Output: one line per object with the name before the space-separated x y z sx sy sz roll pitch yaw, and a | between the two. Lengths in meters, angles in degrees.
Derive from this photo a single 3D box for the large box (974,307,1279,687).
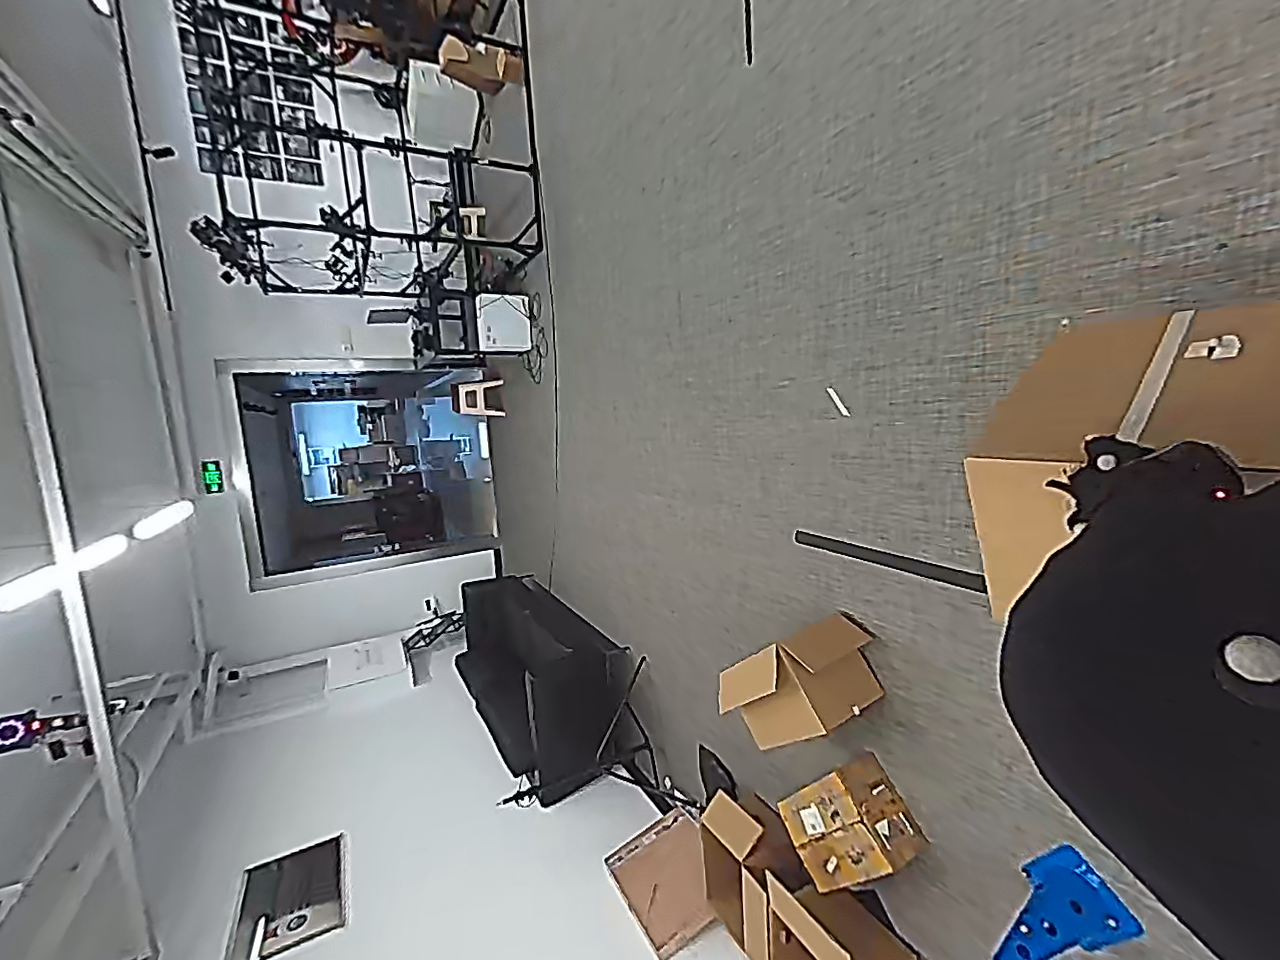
large box | 0.727 0.001 0.754 0.320 0.408 0.320 9 130 52
